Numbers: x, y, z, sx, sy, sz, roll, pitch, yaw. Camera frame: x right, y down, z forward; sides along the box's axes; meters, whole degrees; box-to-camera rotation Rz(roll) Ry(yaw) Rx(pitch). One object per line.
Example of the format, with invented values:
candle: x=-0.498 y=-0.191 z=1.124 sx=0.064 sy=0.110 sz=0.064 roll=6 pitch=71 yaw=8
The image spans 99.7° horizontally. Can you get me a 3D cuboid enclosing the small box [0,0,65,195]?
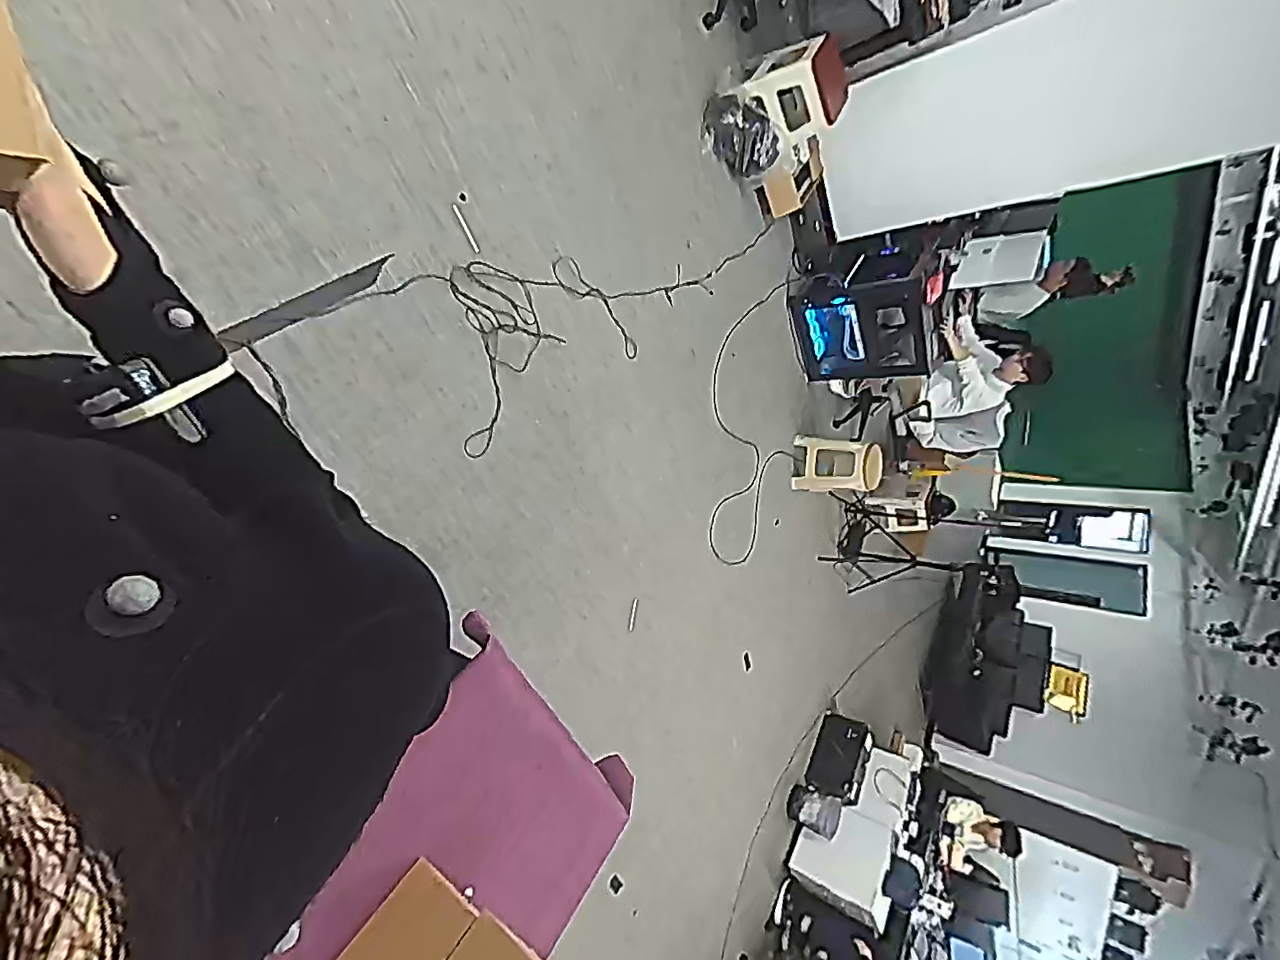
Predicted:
small box: x=-0.357 y=-0.206 z=0.188 sx=0.179 sy=0.176 sz=0.168 roll=-20 pitch=117 yaw=-50

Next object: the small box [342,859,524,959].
small box: x=-0.314 y=0.727 z=0.807 sx=0.179 sy=0.176 sz=0.168 roll=-45 pitch=126 yaw=-37
